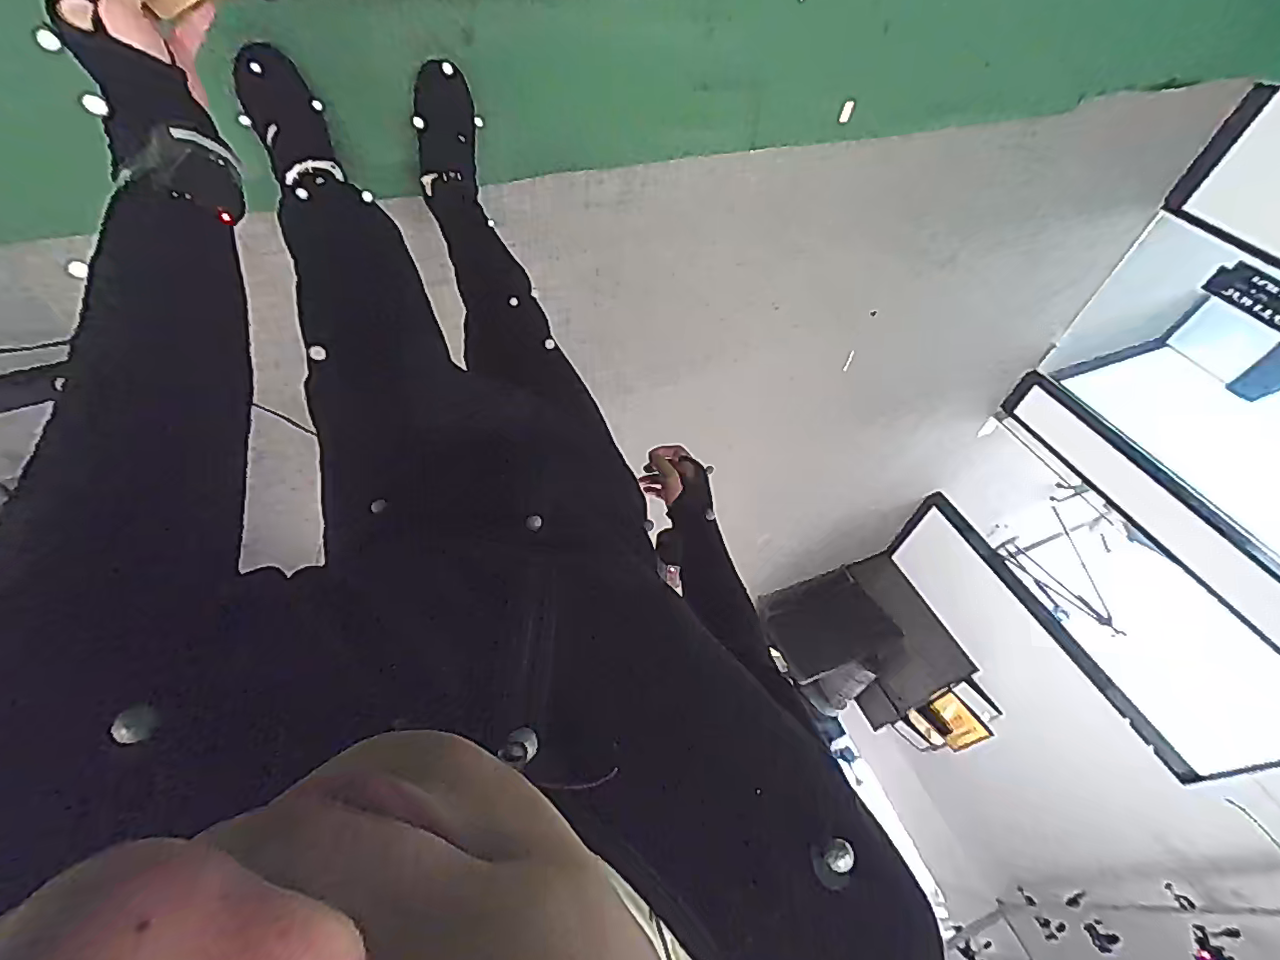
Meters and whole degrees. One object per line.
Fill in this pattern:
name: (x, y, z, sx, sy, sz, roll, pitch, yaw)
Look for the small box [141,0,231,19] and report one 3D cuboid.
small box: (-0.400, -0.541, 0.461, 0.168, 0.176, 0.179, -26, 137, 6)
